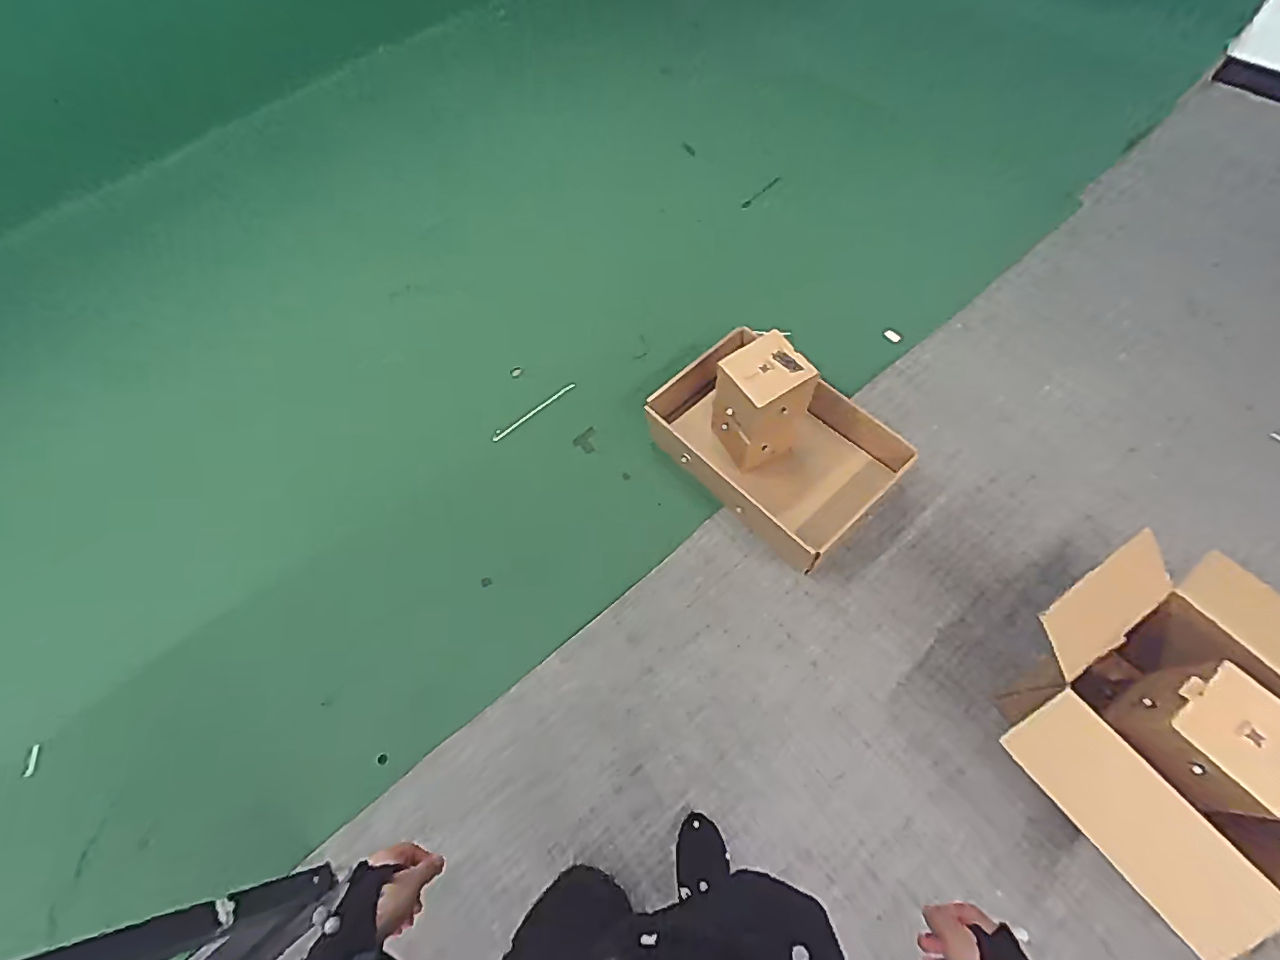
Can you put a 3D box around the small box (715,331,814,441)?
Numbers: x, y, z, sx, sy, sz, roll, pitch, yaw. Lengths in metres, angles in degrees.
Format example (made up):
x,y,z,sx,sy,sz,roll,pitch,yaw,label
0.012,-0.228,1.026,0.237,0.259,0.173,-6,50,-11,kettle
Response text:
x,y,z,sx,sy,sz,roll,pitch,yaw,label
0.302,-0.231,1.358,0.179,0.176,0.168,-31,65,-9,small box

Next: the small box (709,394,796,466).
x,y,z,sx,sy,sz,roll,pitch,yaw,label
0.306,-0.161,1.508,0.168,0.176,0.179,-28,65,-9,small box

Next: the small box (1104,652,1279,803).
x,y,z,sx,sy,sz,roll,pitch,yaw,label
1.003,0.441,0.969,0.168,0.176,0.179,-38,66,-10,small box
